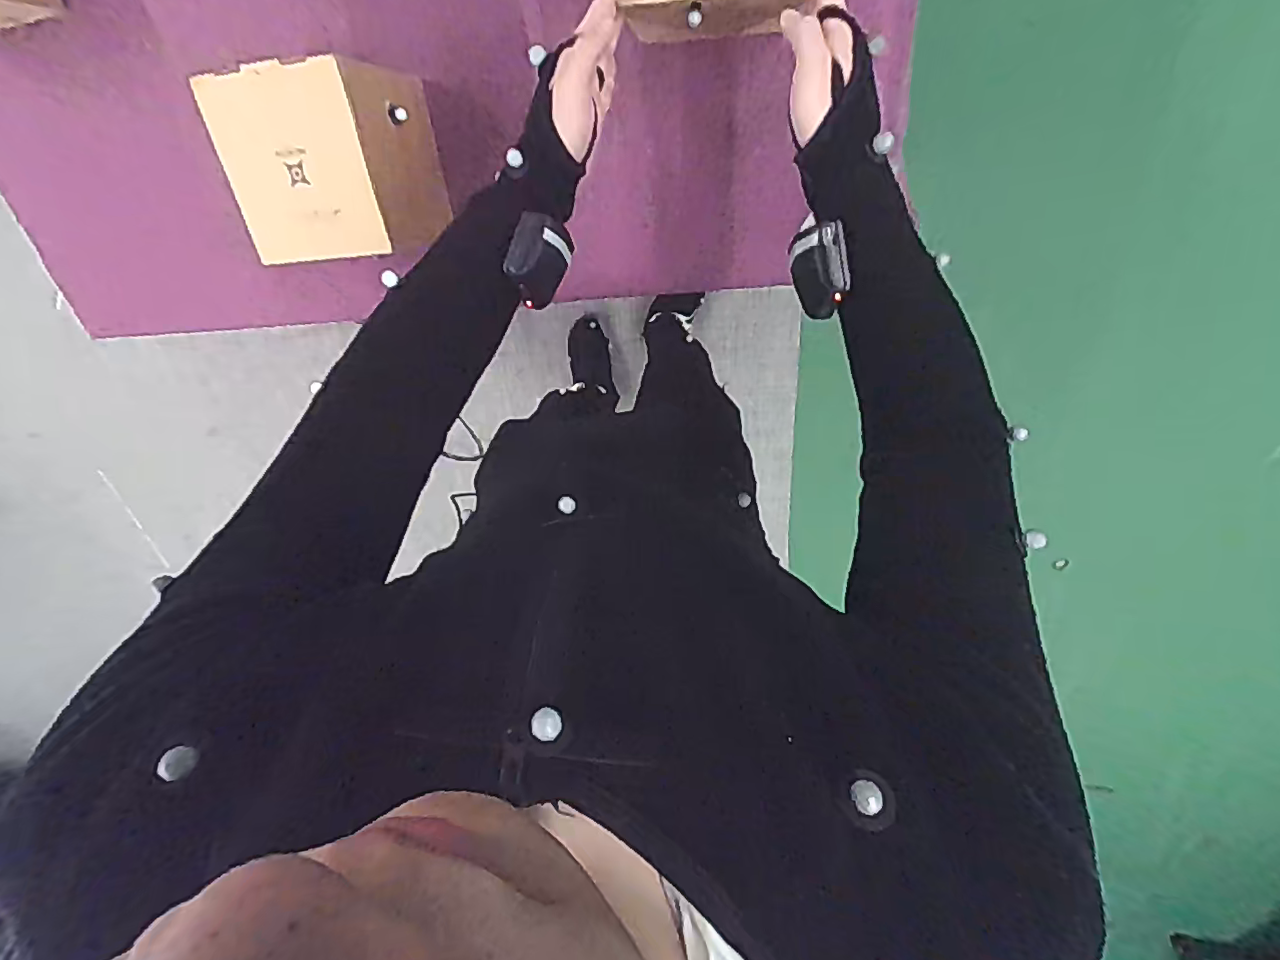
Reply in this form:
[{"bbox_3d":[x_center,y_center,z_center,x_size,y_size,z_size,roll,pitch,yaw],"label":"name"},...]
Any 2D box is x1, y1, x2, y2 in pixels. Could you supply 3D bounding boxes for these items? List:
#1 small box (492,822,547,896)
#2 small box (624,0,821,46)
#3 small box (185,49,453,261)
[{"bbox_3d":[-0.461,1.463,2.089,0.168,0.176,0.179,8,121,2],"label":"small box"},{"bbox_3d":[0.073,-0.504,0.468,0.168,0.176,0.179,2,122,7],"label":"small box"},{"bbox_3d":[-0.339,-0.357,0.614,0.168,0.176,0.179,0,120,9],"label":"small box"}]
